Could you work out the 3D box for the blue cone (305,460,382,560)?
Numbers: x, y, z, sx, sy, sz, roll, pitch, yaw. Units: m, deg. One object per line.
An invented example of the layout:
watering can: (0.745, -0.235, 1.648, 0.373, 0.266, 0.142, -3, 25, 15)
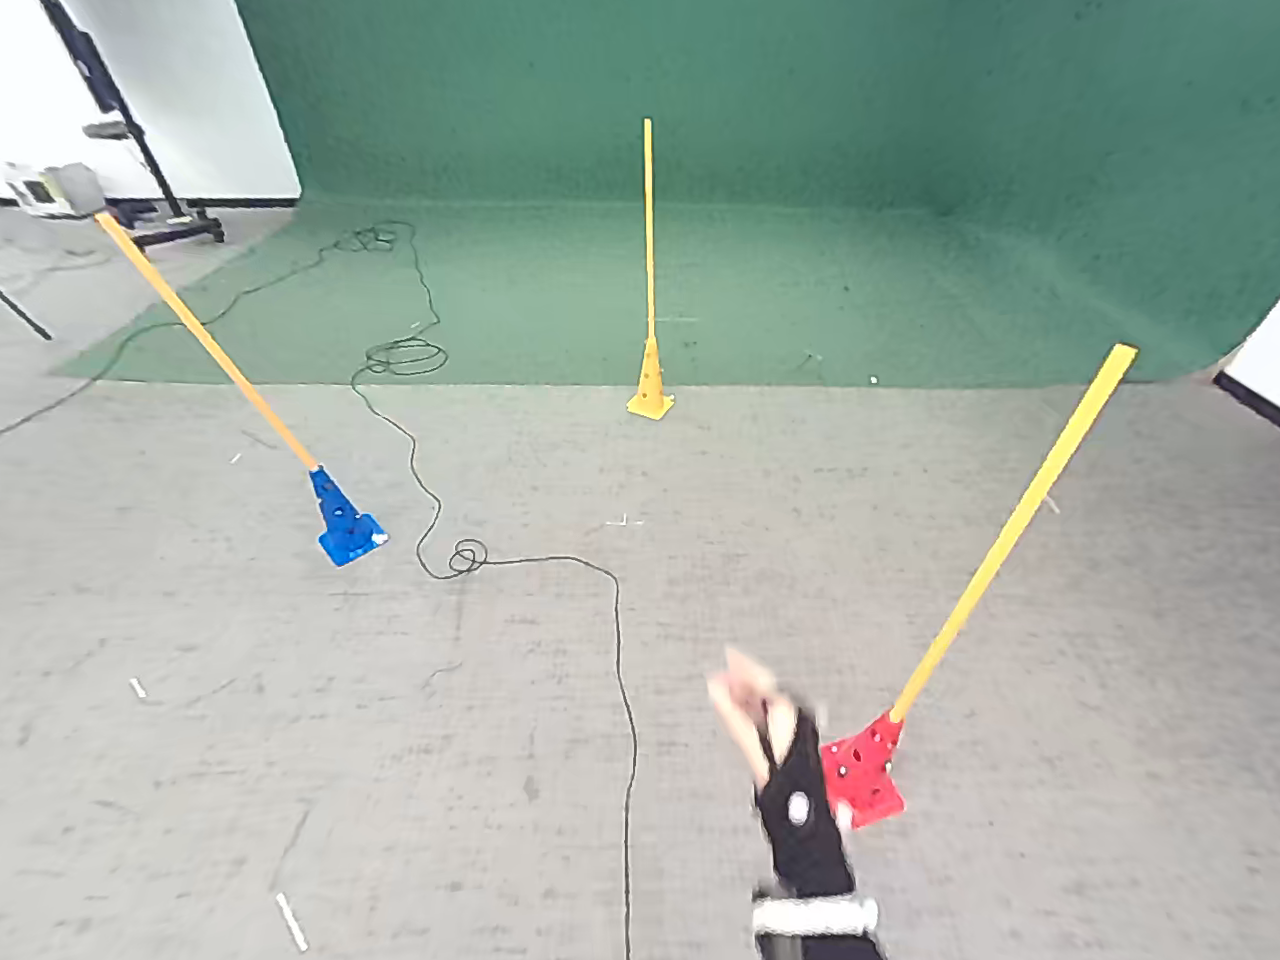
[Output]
blue cone: (-1.072, 0.086, 1.887, 0.192, 0.380, 0.193, 35, 53, 31)
